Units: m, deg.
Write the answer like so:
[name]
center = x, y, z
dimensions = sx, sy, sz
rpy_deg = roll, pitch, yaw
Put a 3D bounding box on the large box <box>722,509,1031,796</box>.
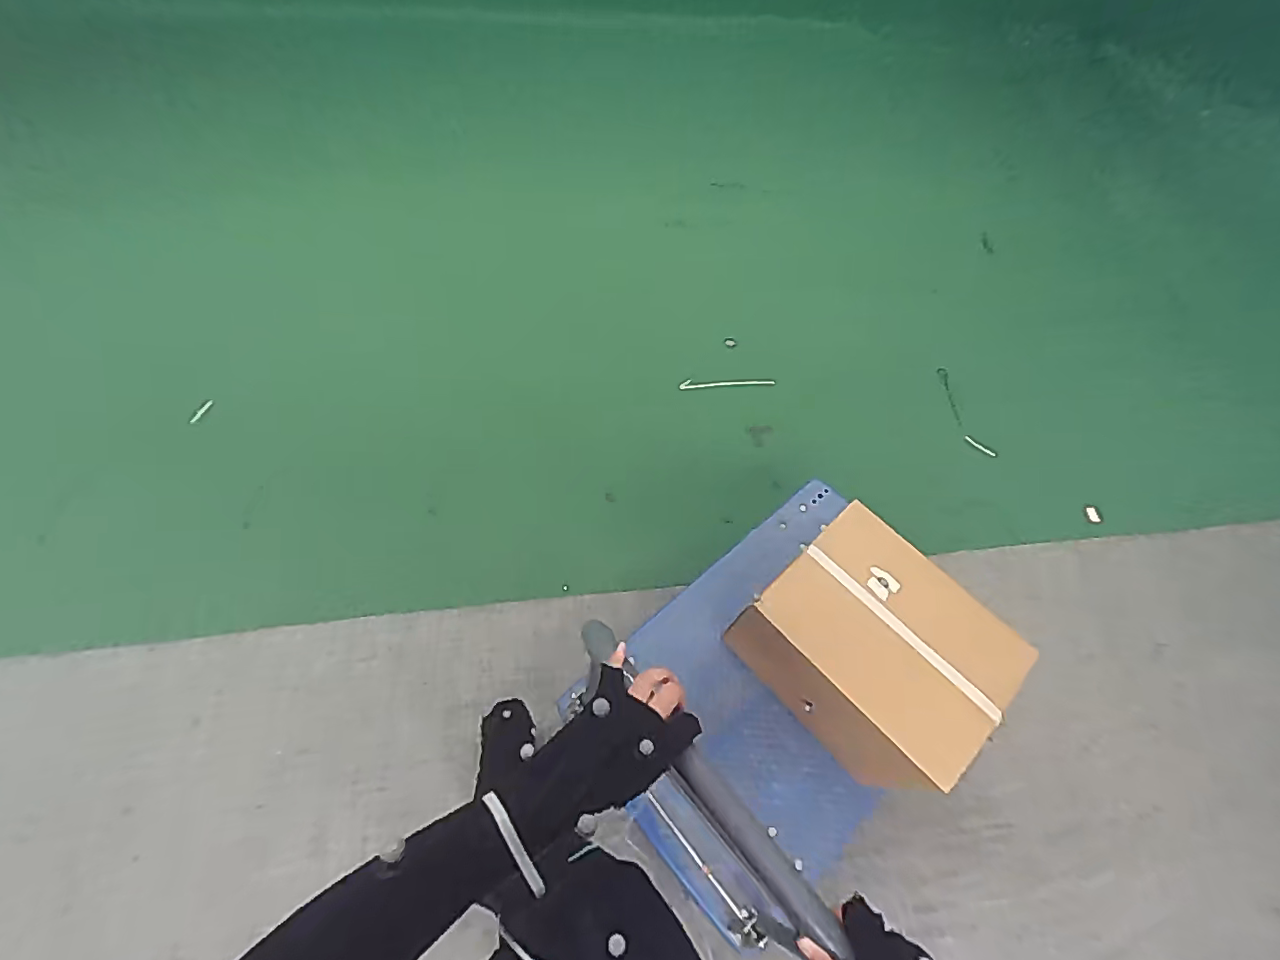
[large box]
center = 0.429, 0.343, 1.074
dimensions = 0.320, 0.320, 0.408
rpy_deg = -38, 69, -21
